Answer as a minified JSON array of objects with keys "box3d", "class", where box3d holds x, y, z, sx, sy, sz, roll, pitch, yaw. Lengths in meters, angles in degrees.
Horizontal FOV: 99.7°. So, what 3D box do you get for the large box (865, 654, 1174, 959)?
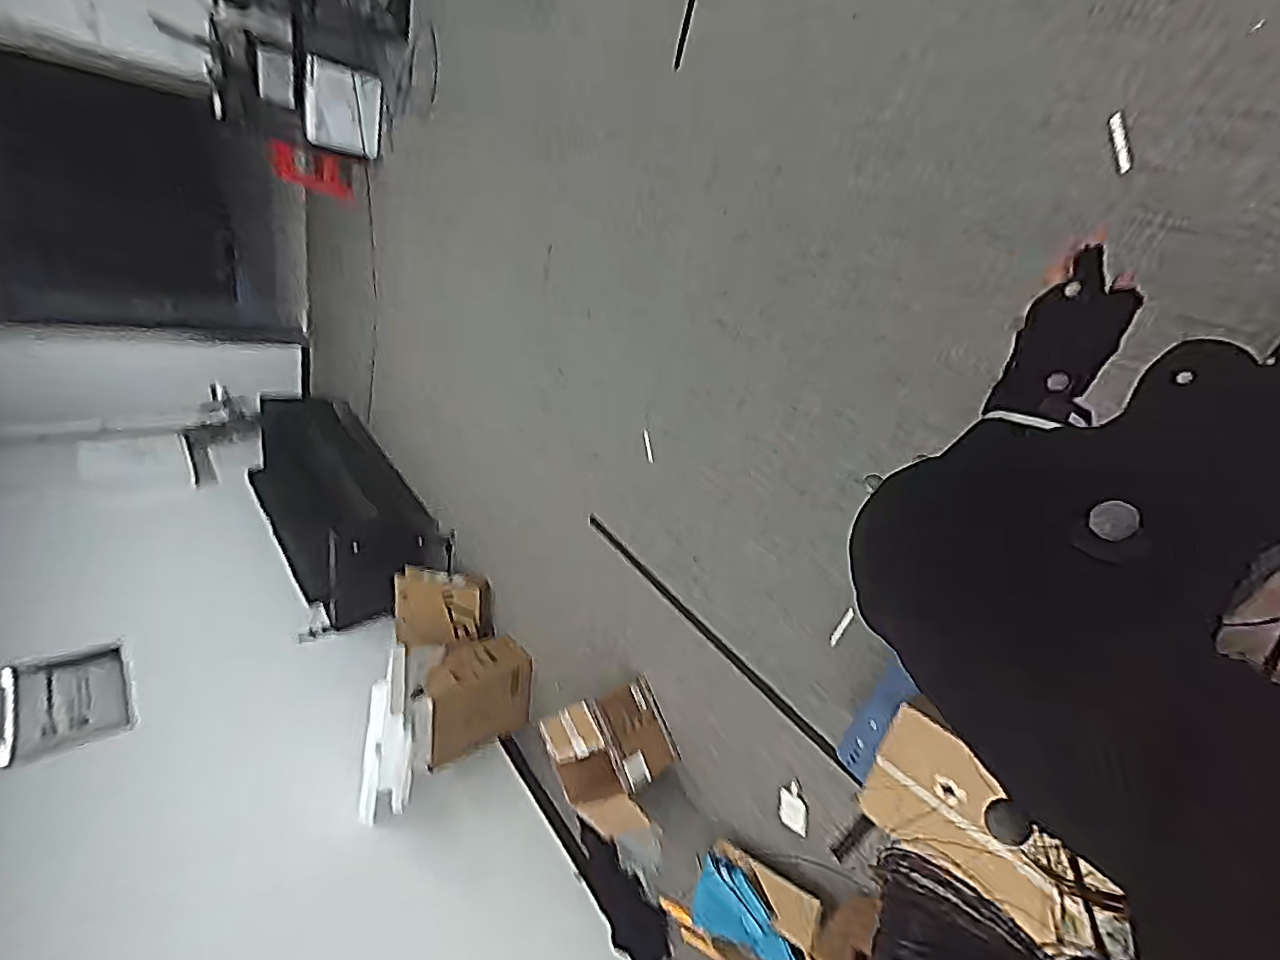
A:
[{"box3d":[0.767,0.642,1.123,0.408,0.320,0.320,30,118,42],"class":"large box"}]
